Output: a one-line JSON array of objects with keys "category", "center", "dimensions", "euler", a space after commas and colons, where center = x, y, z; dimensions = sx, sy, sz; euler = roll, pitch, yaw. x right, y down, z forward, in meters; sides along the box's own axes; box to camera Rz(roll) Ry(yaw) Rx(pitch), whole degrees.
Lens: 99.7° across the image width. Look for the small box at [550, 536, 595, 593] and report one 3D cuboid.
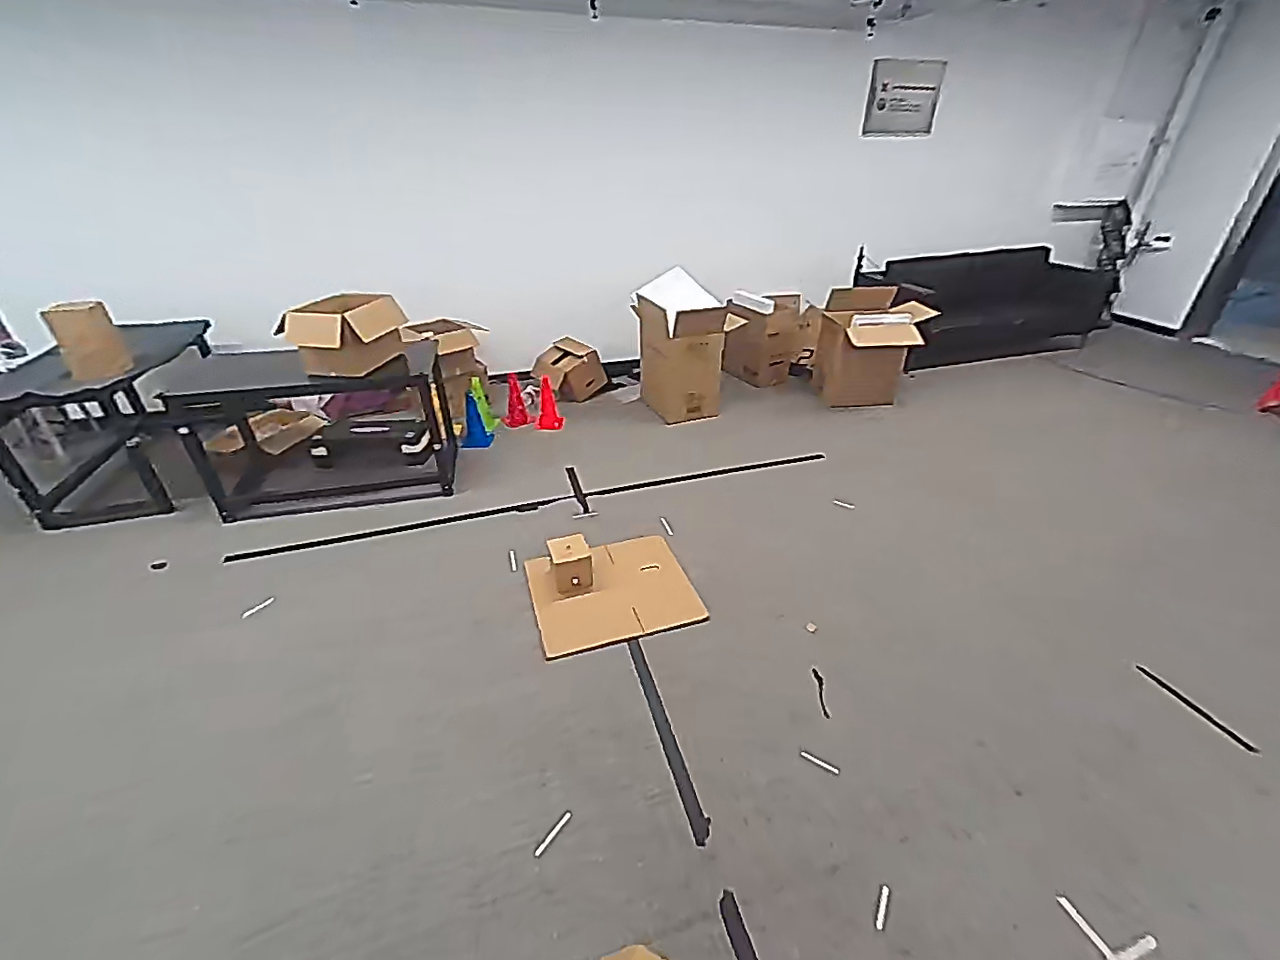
[{"category": "small box", "center": [-0.305, 0.381, 2.438], "dimensions": [0.168, 0.176, 0.179], "euler": [-11, 33, -15]}]
